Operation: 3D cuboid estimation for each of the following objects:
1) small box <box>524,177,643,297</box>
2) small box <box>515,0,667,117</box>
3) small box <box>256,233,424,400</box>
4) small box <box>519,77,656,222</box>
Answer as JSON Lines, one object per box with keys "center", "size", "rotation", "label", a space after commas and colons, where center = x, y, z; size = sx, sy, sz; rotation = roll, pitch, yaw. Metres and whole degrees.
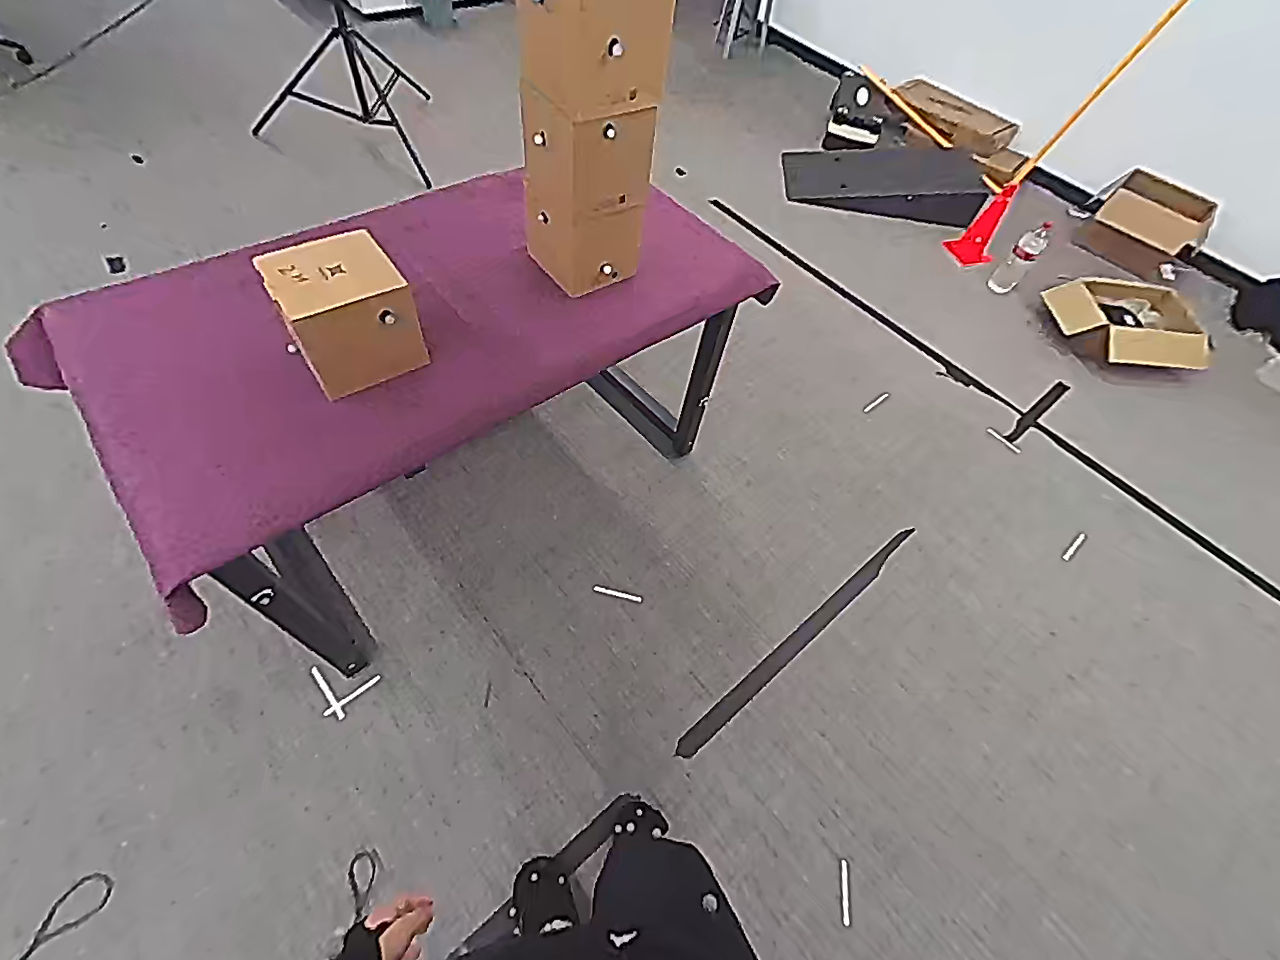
{"center": [-0.117, -0.504, 1.092], "size": [0.168, 0.176, 0.179], "rotation": [-31, 66, -24], "label": "small box"}
{"center": [-0.073, -0.675, 0.816], "size": [0.168, 0.176, 0.179], "rotation": [-29, 65, -23], "label": "small box"}
{"center": [-0.475, -0.265, 0.886], "size": [0.179, 0.176, 0.168], "rotation": [-30, 65, -24], "label": "small box"}
{"center": [-0.096, -0.590, 0.954], "size": [0.168, 0.176, 0.179], "rotation": [-29, 64, -23], "label": "small box"}
